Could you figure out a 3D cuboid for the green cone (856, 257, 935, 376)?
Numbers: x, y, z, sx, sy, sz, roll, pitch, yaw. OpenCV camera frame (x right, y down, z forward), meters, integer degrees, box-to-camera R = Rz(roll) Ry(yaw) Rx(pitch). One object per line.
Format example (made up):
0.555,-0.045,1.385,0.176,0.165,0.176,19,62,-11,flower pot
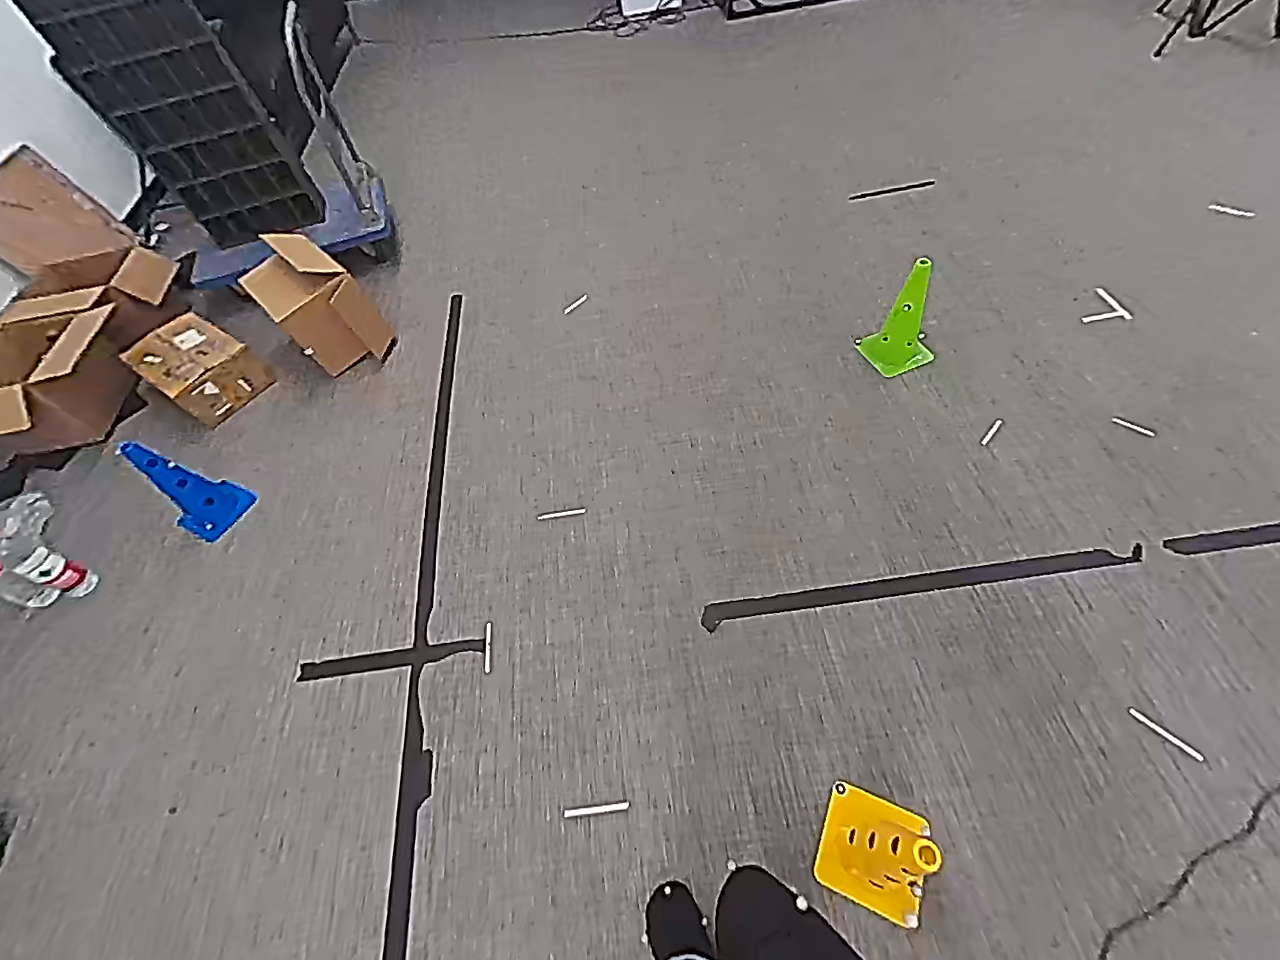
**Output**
0.874,-0.549,1.756,0.202,0.368,0.200,-22,56,-8,green cone
